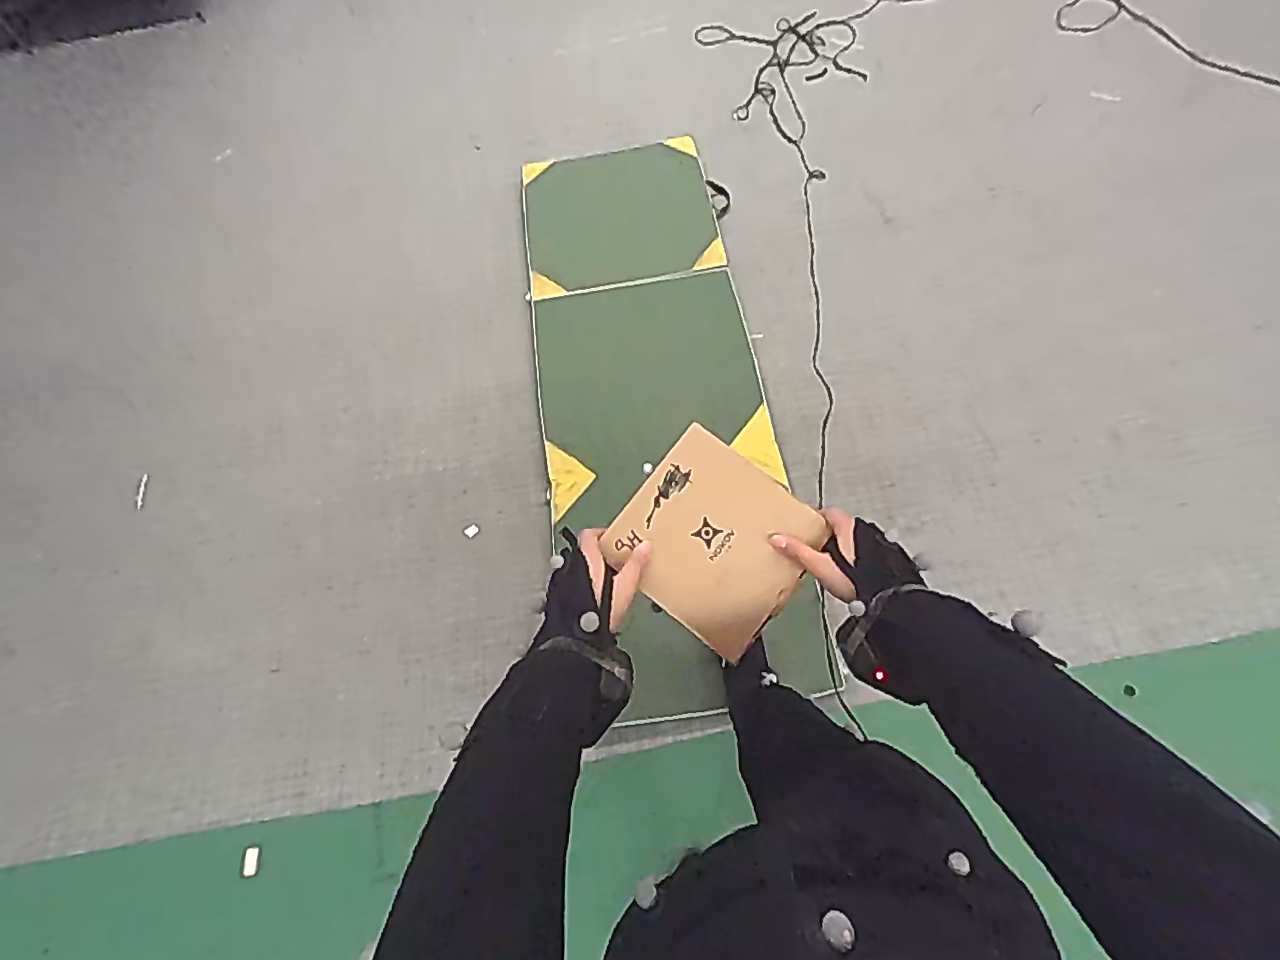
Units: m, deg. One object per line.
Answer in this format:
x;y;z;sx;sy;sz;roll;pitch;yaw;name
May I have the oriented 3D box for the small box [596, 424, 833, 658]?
0.077;0.067;0.607;0.179;0.176;0.168;38;84;8;small box
